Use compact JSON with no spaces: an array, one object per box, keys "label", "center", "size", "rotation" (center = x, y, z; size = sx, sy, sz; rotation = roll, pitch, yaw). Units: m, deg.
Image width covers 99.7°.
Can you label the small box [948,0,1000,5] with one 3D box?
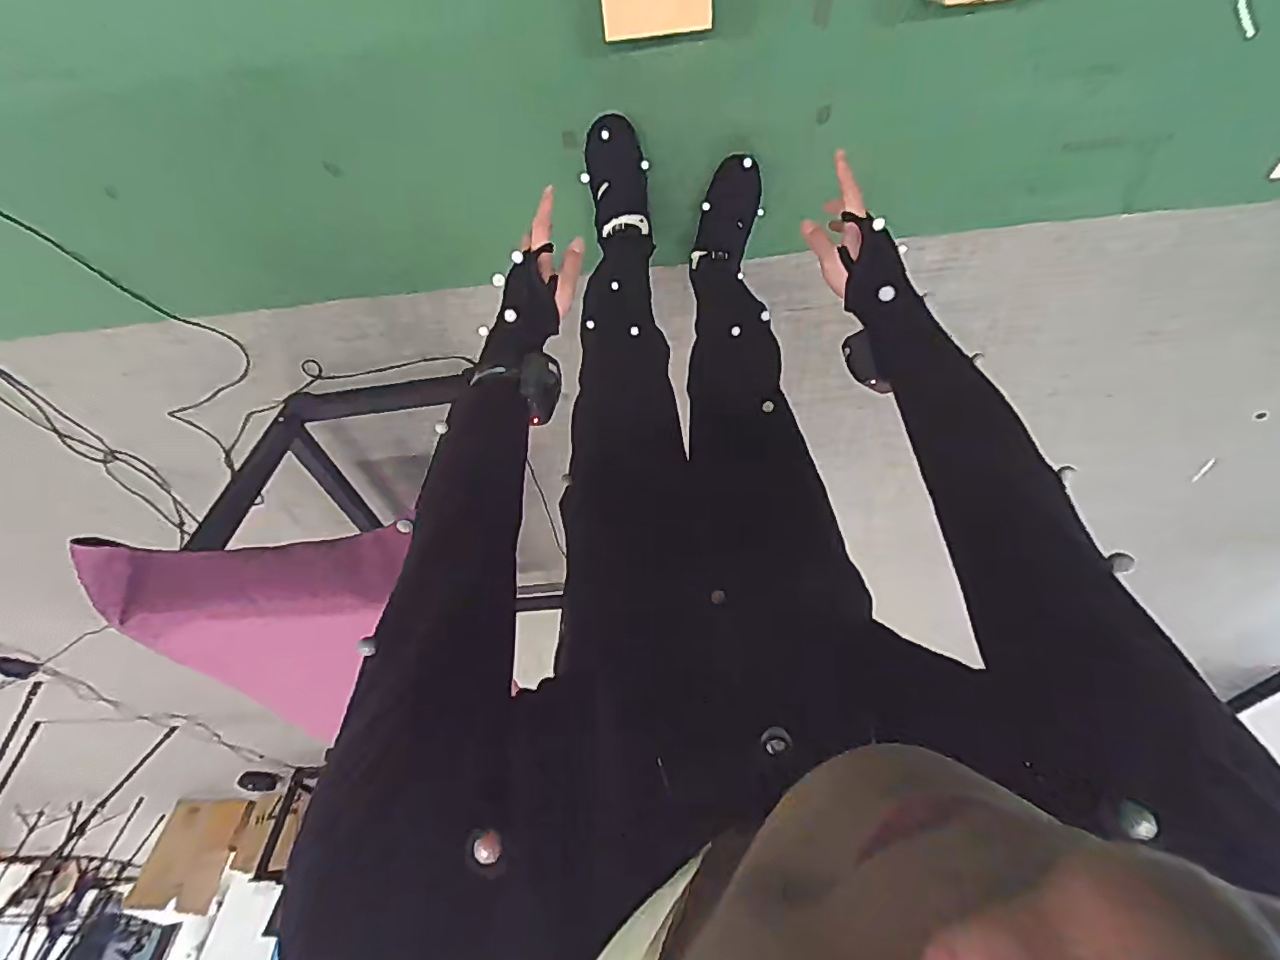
[{"label":"small box","center":[0.527,-0.824,0.789],"size":[0.168,0.176,0.179],"rotation":[-3,137,3]}]

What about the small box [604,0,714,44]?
[{"label":"small box","center":[0.026,-0.794,0.819],"size":[0.168,0.176,0.179],"rotation":[-4,136,4]}]
